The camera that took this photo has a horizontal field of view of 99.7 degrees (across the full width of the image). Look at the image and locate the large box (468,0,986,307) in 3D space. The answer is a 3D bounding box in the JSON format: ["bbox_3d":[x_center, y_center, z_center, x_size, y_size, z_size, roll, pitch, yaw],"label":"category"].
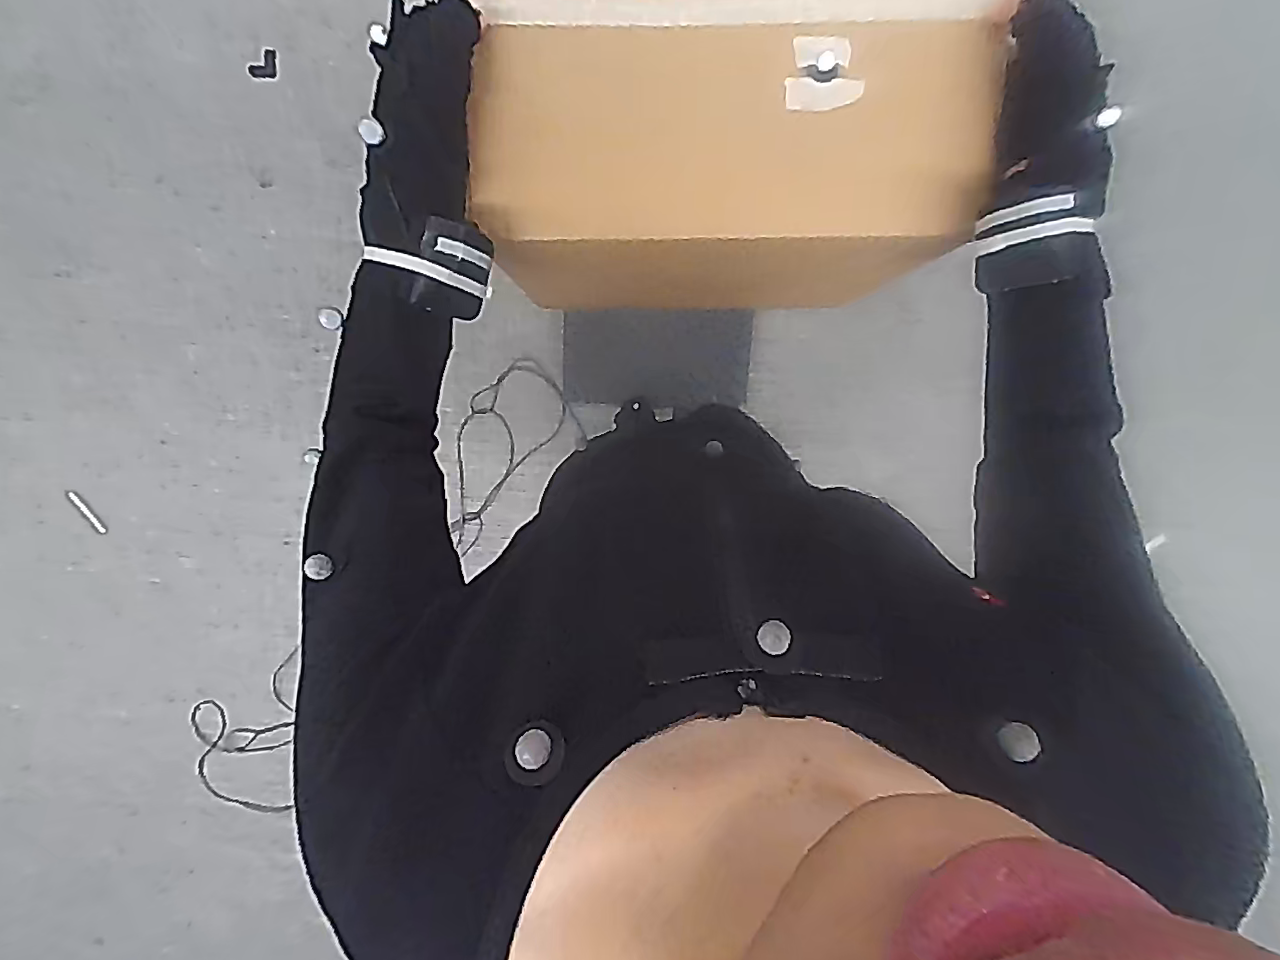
[{"bbox_3d":[0.063,-0.371,0.560,0.408,0.320,0.320,-1,98,-1],"label":"large box"}]

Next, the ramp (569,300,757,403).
[{"bbox_3d":[0.071,-0.696,1.330,0.509,0.206,0.991,1,96,-1],"label":"ramp"}]
